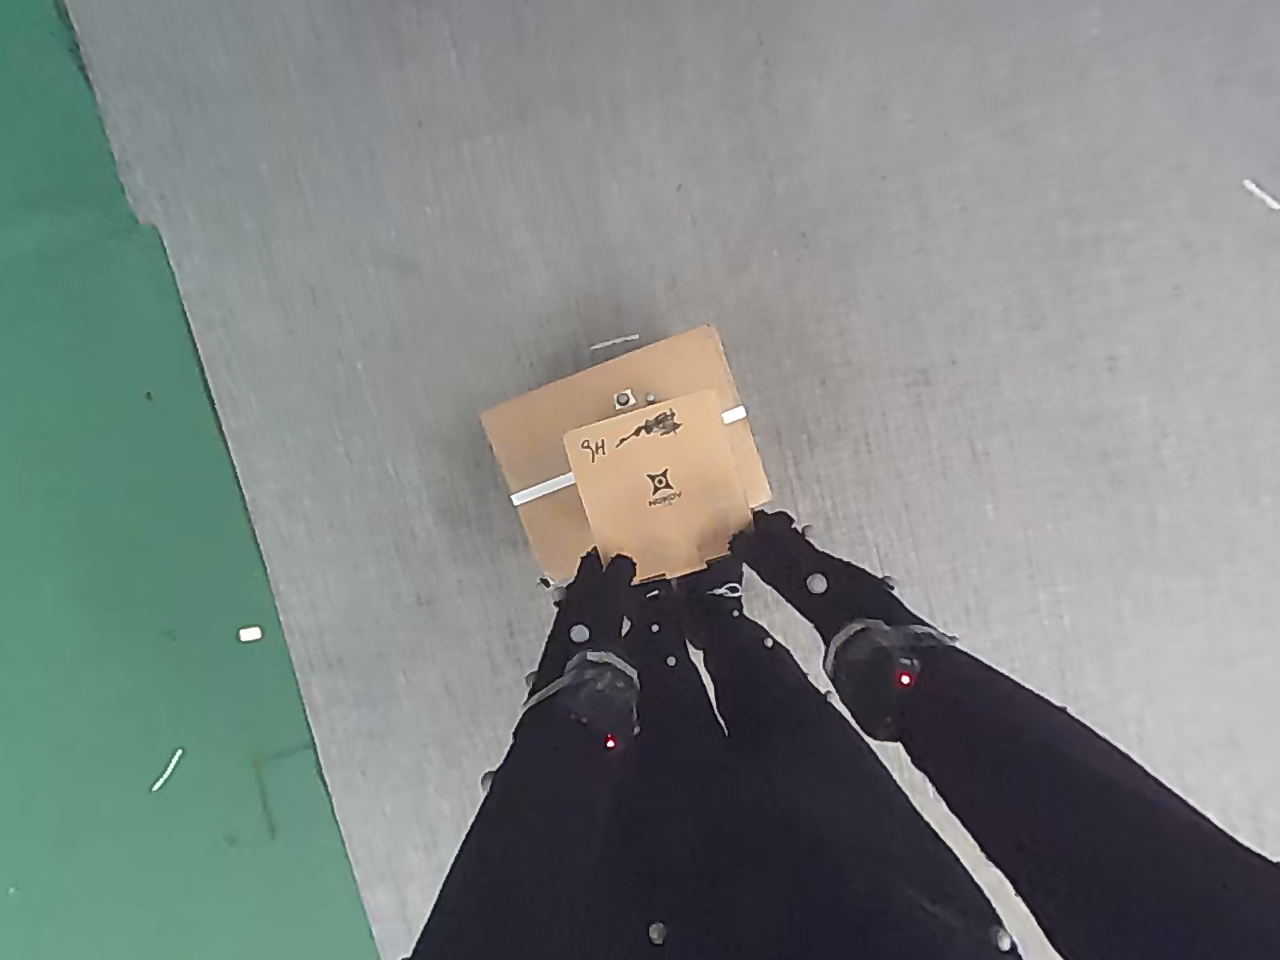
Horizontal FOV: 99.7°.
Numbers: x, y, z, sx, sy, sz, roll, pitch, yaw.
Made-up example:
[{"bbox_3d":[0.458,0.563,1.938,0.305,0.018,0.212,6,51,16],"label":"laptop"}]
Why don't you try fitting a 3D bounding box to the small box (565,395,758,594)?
[{"bbox_3d":[0.024,0.009,0.639,0.168,0.176,0.179,-17,94,1],"label":"small box"}]
